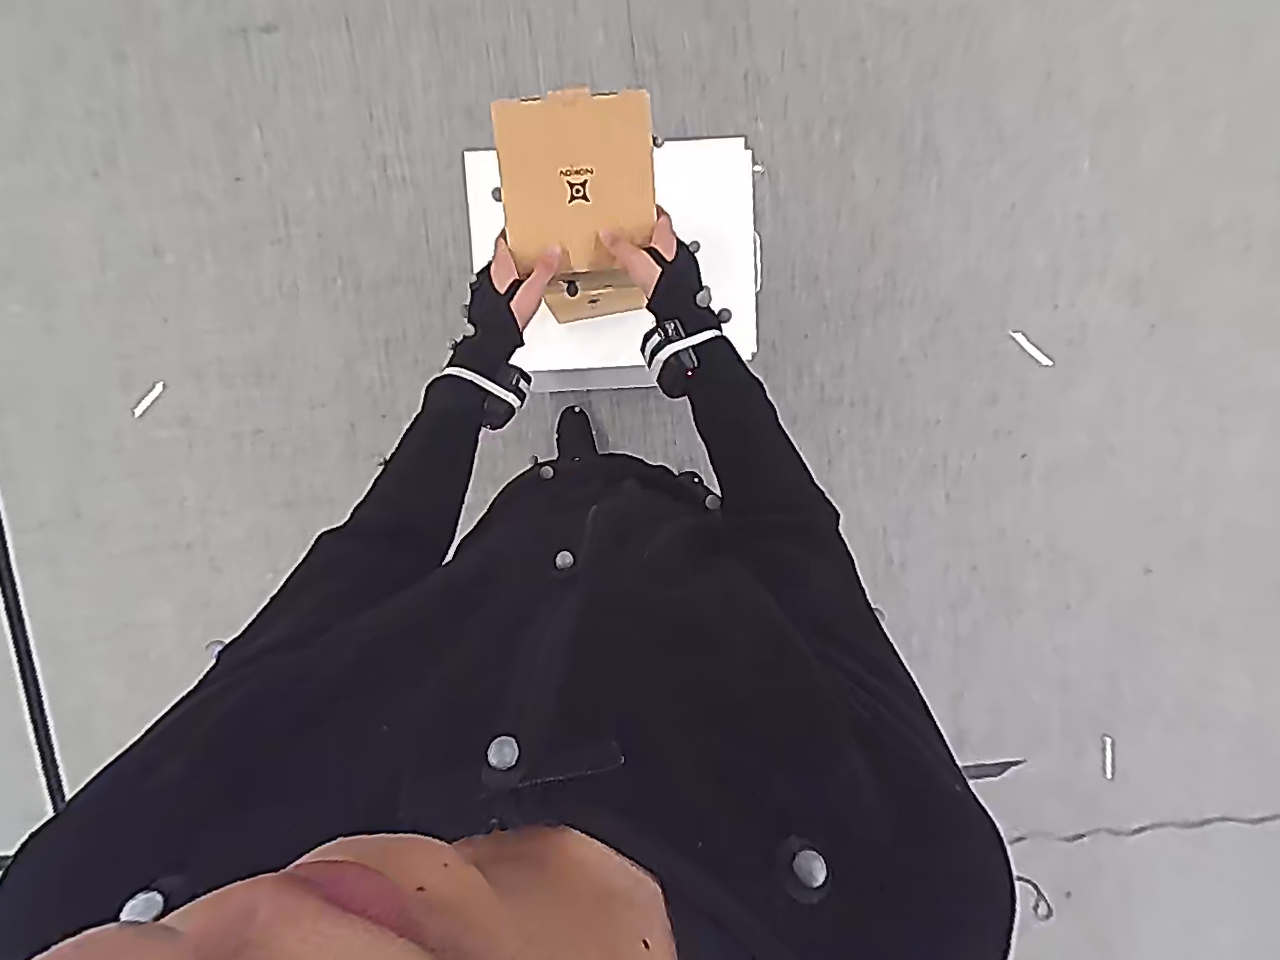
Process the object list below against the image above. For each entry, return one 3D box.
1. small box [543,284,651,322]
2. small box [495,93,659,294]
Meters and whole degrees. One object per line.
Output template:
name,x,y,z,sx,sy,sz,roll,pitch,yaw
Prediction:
small box,-0.077,-0.376,0.915,0.179,0.176,0.168,-11,95,0
small box,-0.065,-0.327,0.655,0.168,0.176,0.179,-5,101,-1
